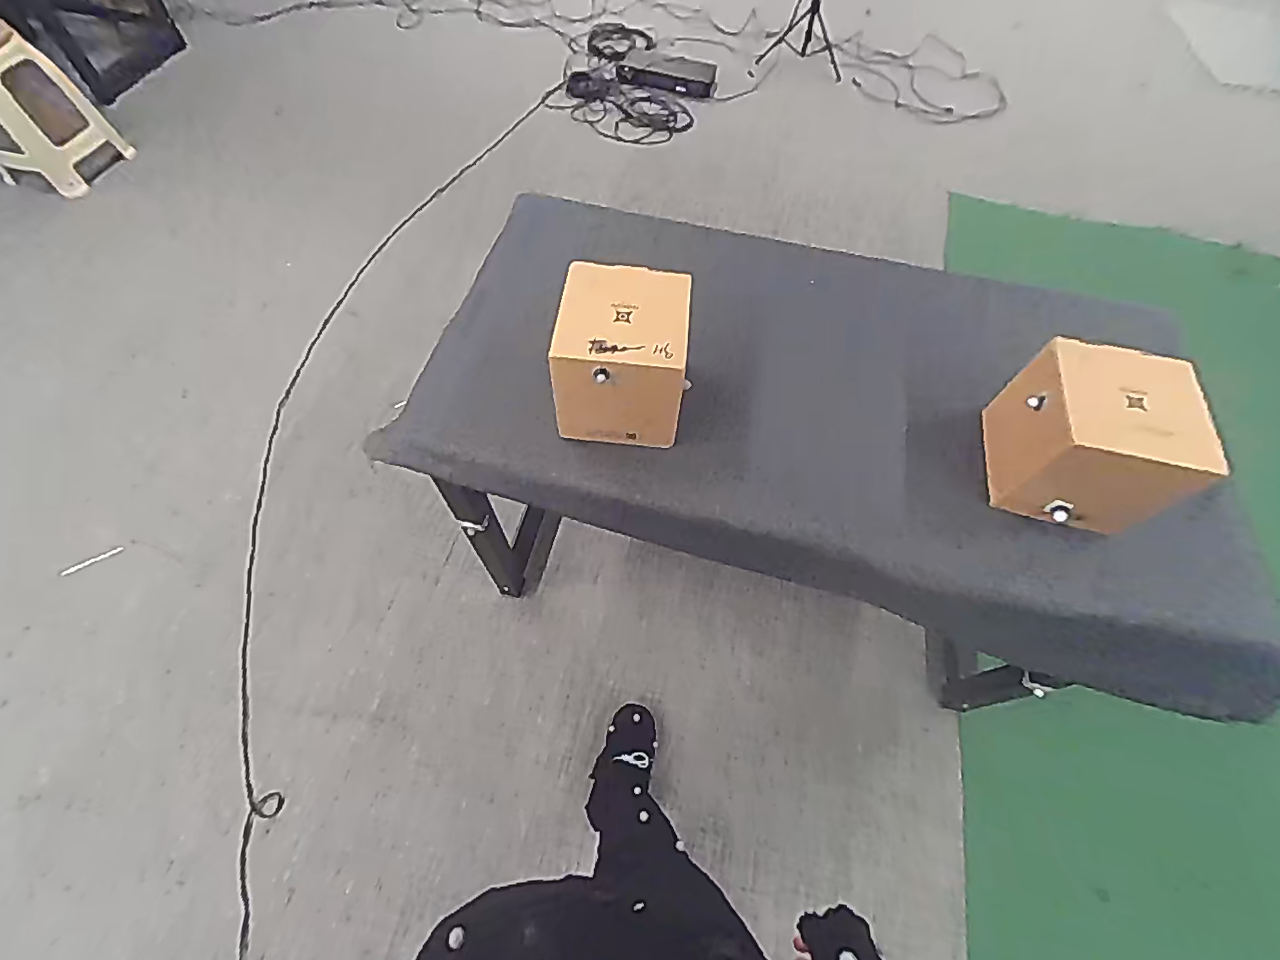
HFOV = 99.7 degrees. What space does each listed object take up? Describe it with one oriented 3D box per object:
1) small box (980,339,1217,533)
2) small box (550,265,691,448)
[{"bbox_3d":[0.583,-0.054,0.721,0.168,0.176,0.179,12,61,6],"label":"small box"},{"bbox_3d":[-0.023,-0.169,0.756,0.168,0.176,0.179,6,58,1],"label":"small box"}]
